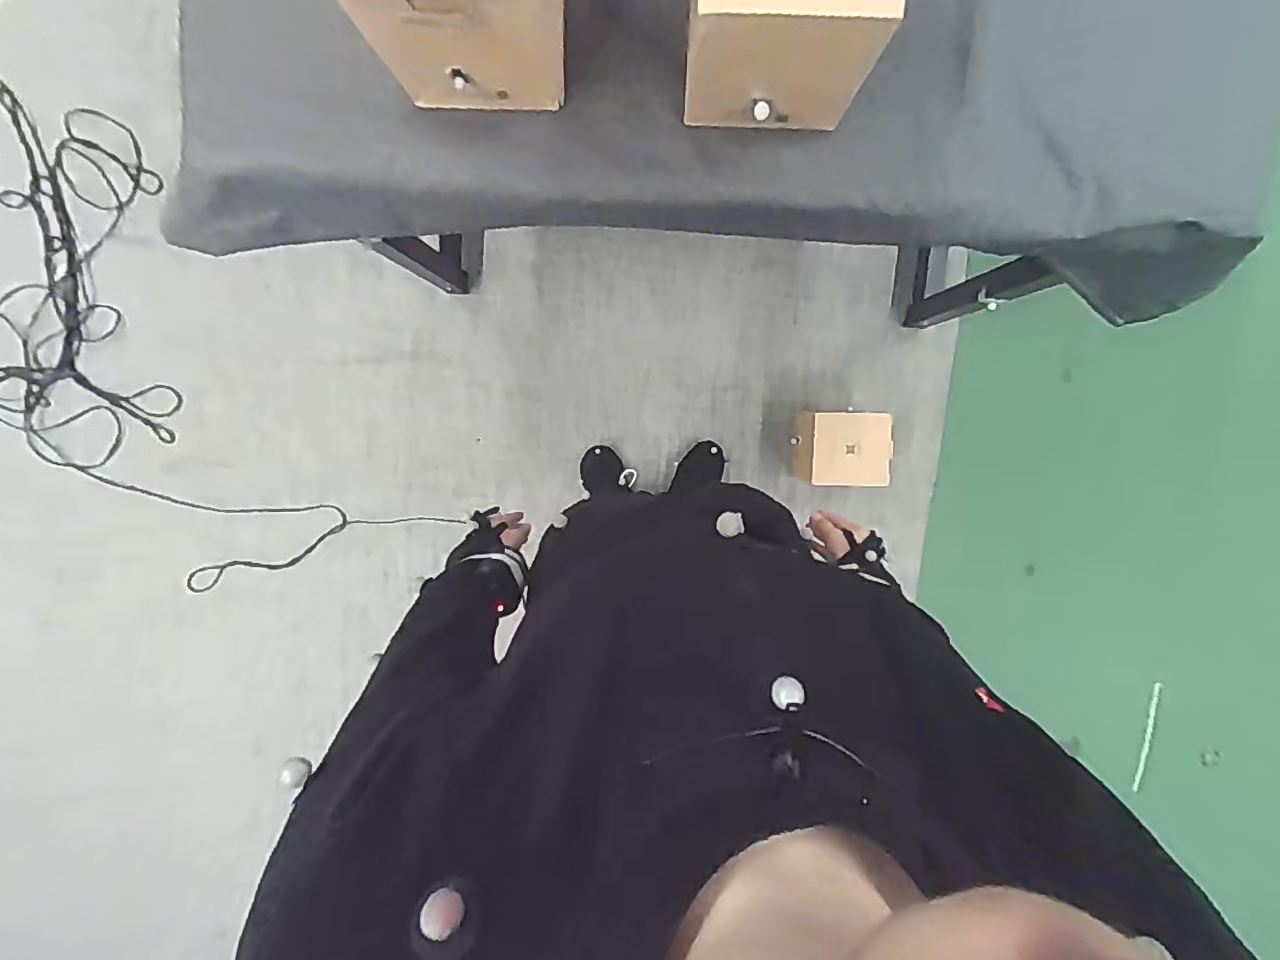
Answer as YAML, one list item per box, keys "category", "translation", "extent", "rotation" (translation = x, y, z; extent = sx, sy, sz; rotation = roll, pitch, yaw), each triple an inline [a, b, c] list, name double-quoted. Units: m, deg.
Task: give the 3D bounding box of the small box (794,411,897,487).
- category: "small box"
  translation: [0.475, -0.077, 1.271]
  extent: [0.179, 0.176, 0.168]
  rotation: [2, 96, 2]

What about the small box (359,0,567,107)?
- category: "small box"
  translation: [-0.163, -0.492, 0.506]
  extent: [0.168, 0.176, 0.179]
  rotation: [1, 97, 1]

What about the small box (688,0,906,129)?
- category: "small box"
  translation: [0.135, -0.465, 0.499]
  extent: [0.168, 0.176, 0.179]
  rotation: [3, 96, 1]
